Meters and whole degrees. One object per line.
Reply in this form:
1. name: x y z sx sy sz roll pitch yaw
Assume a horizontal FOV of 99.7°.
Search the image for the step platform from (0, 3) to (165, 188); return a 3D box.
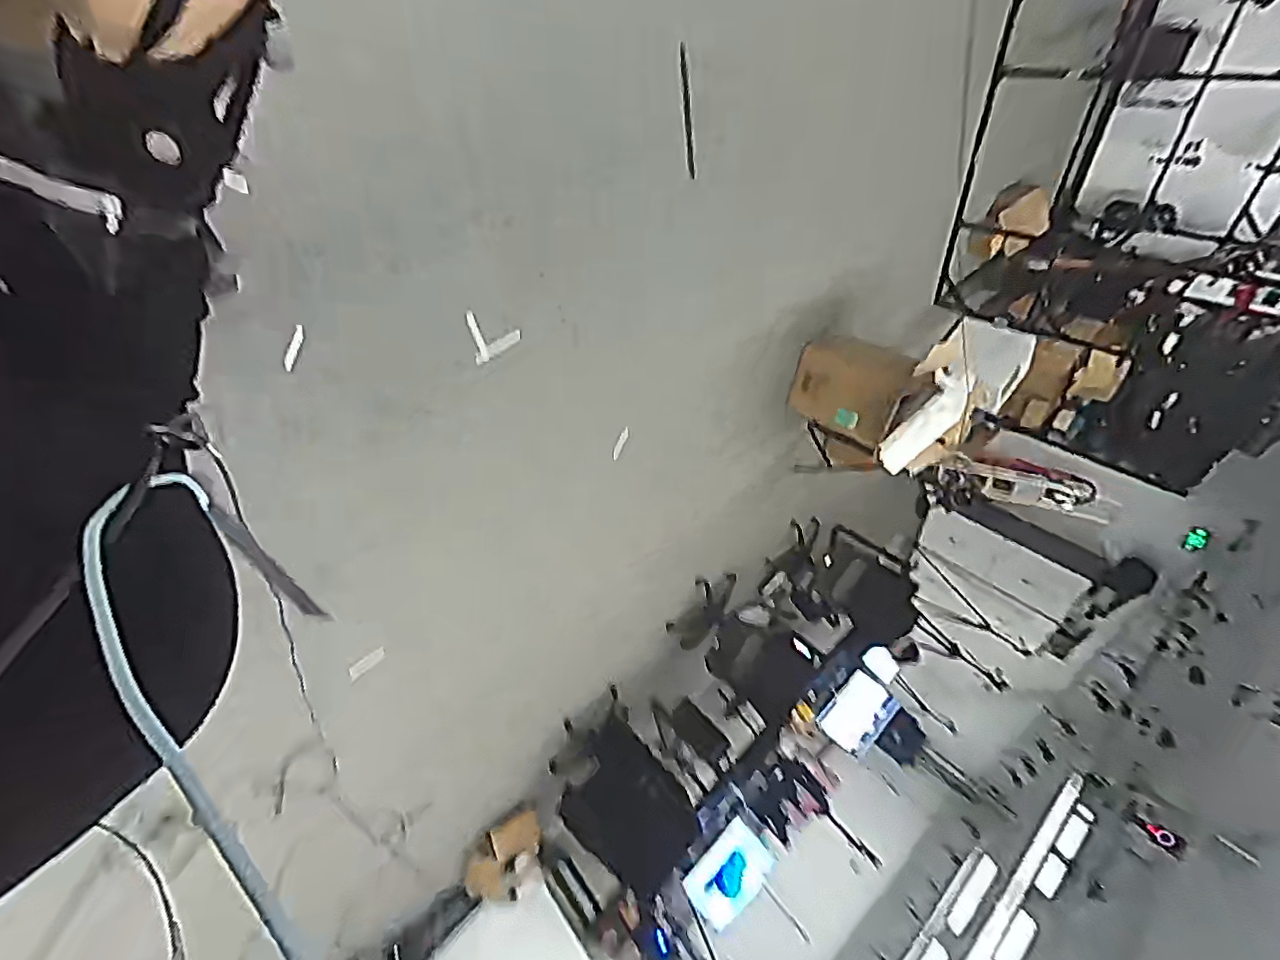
1. step platform: -1.117 -0.552 0.750 0.684 0.204 0.286 -33 138 -30
